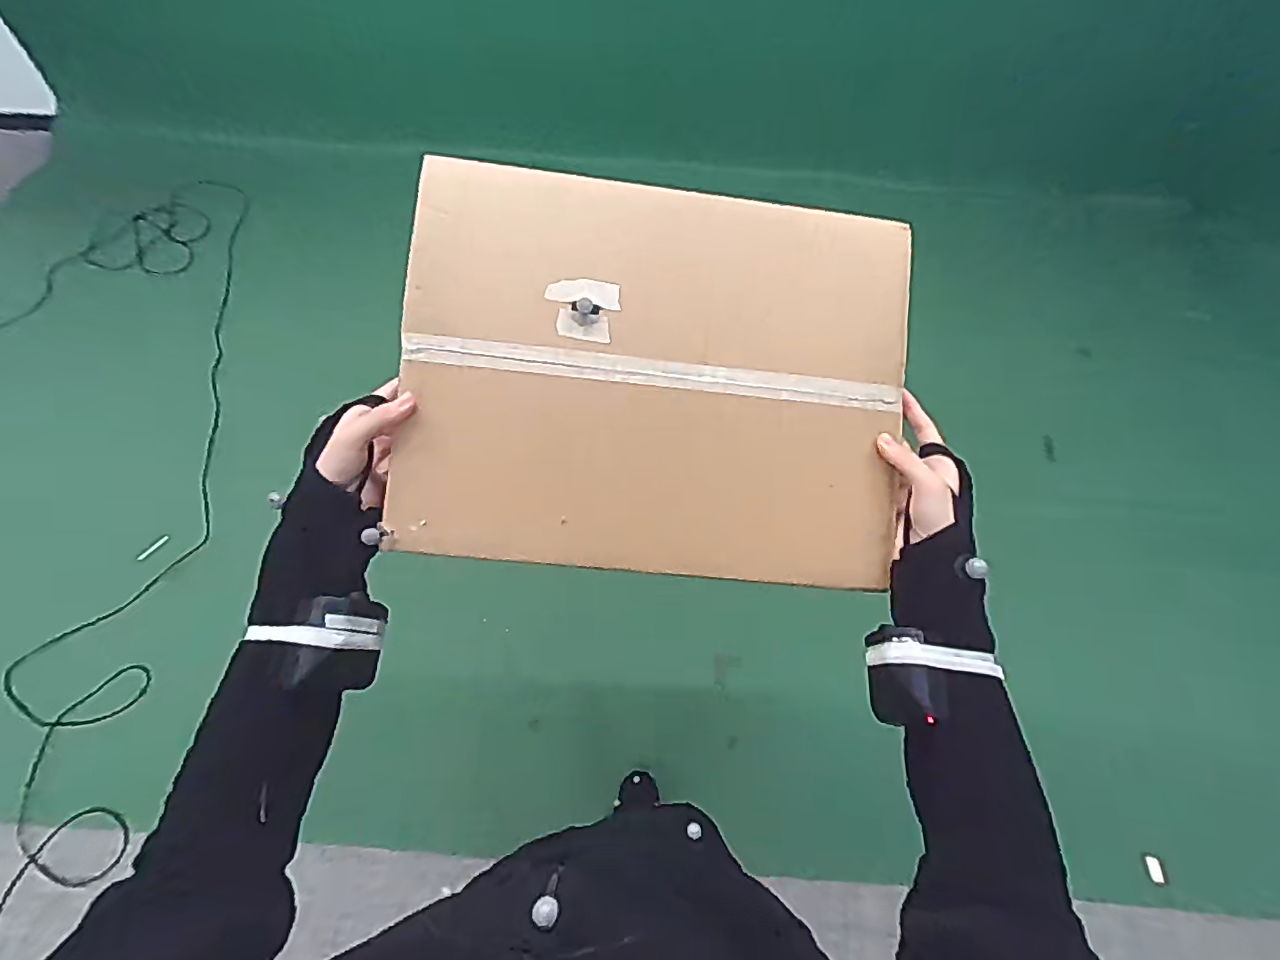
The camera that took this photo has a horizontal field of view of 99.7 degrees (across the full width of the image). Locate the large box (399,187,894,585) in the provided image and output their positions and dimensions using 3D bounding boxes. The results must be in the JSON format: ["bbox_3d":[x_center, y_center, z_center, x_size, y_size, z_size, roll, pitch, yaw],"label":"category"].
[{"bbox_3d":[0.006,-0.072,0.601,0.408,0.320,0.320,5,86,-3],"label":"large box"}]
